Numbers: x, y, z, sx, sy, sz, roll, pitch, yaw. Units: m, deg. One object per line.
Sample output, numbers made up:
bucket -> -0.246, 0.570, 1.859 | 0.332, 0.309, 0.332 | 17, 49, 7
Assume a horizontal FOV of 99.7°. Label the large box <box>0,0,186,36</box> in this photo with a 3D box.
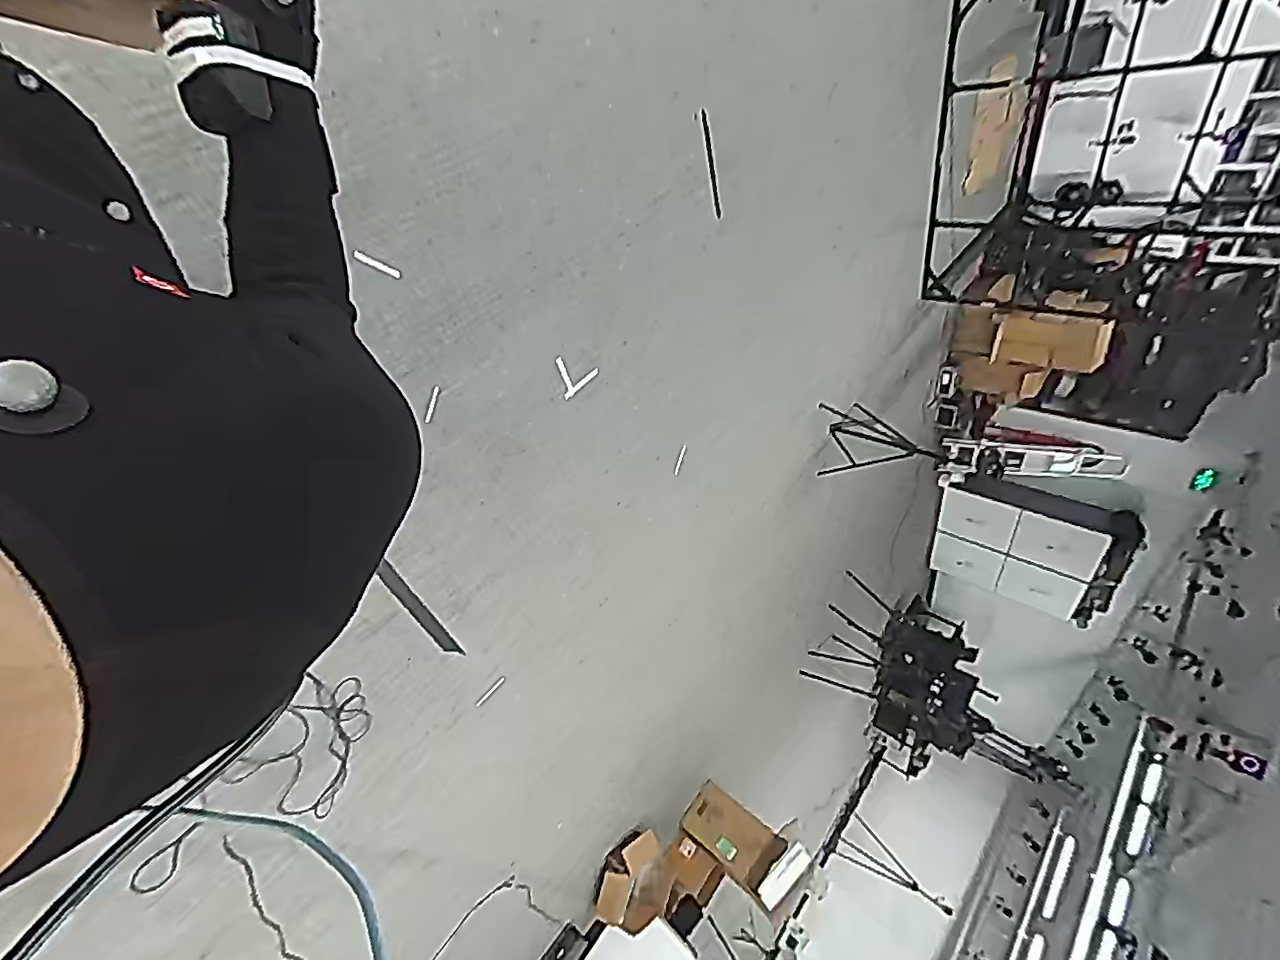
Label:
large box -> -0.521, -0.483, 0.265 | 0.408, 0.320, 0.320 | -18, 126, -43
